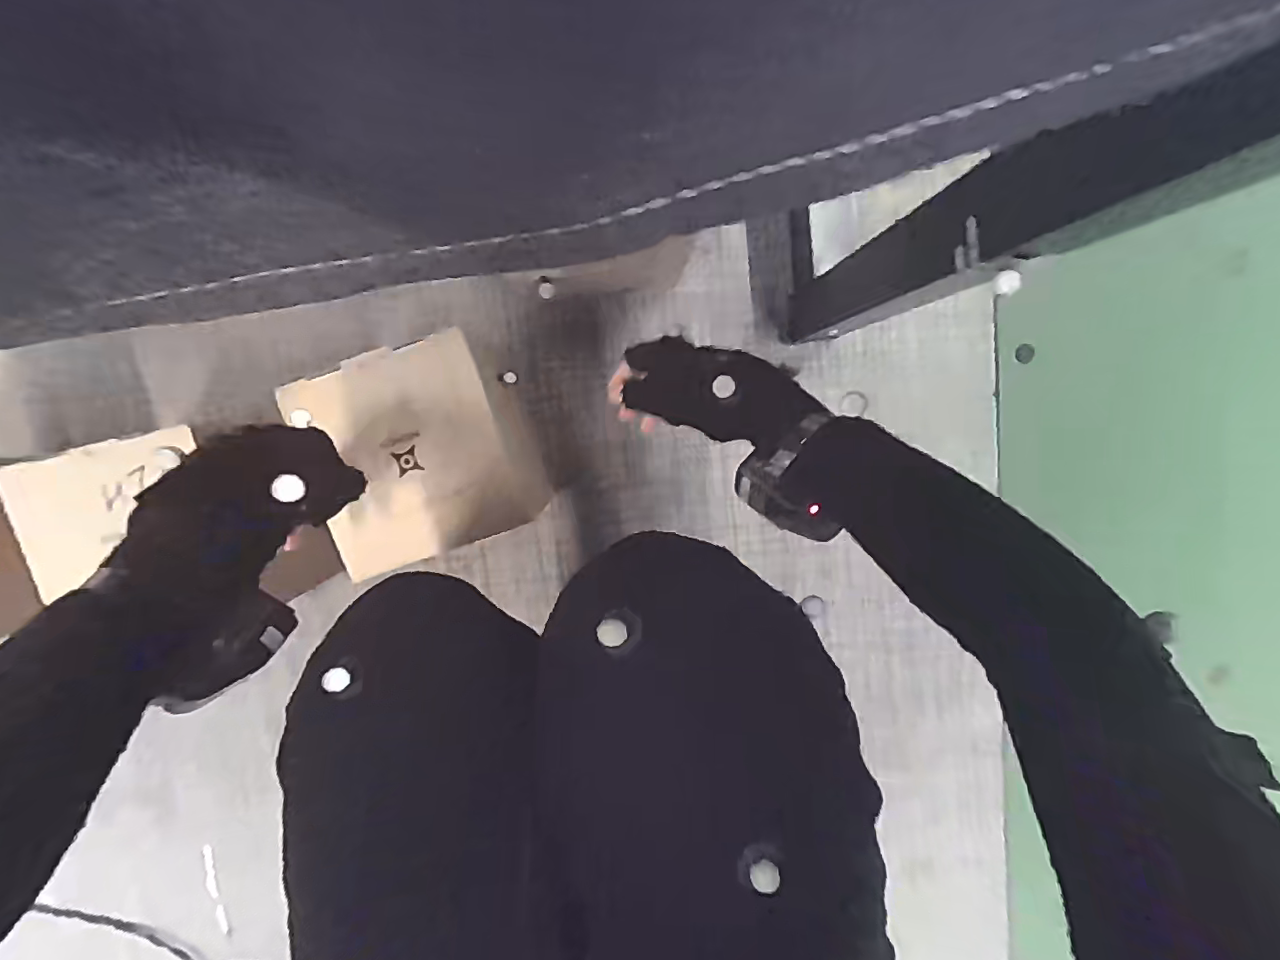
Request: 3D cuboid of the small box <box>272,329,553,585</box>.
[{"bbox_3d":[-0.197,-0.025,0.523,0.168,0.176,0.179,-18,97,2],"label":"small box"}]
